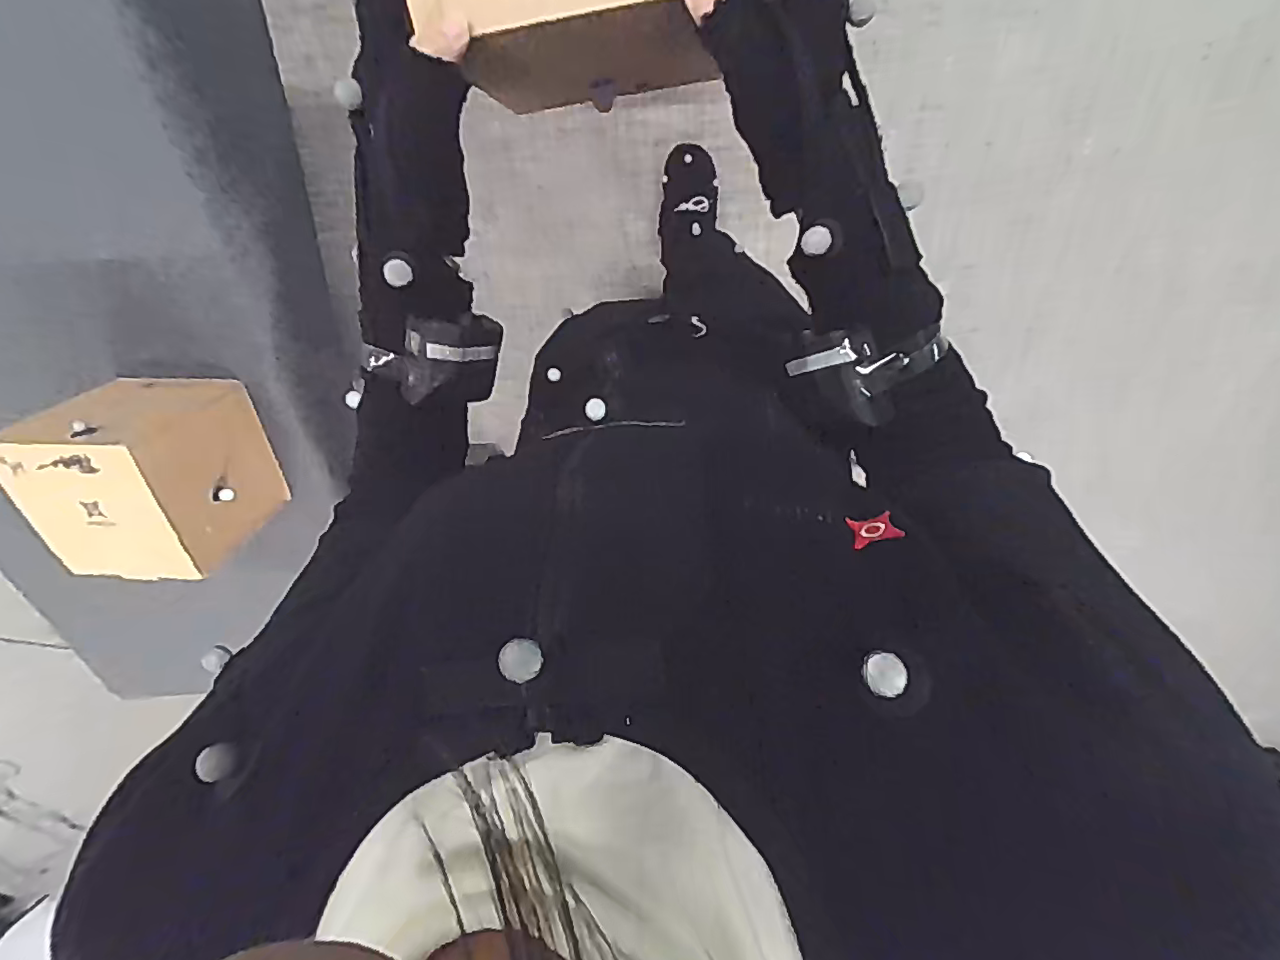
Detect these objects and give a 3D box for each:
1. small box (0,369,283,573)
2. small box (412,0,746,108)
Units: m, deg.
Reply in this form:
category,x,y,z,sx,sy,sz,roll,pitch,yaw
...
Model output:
category,x,y,z,sx,sy,sz,roll,pitch,yaw
small box,-0.569,-0.015,0.639,0.168,0.176,0.179,2,123,4
small box,-0.031,-0.338,0.302,0.168,0.176,0.179,-3,114,7
